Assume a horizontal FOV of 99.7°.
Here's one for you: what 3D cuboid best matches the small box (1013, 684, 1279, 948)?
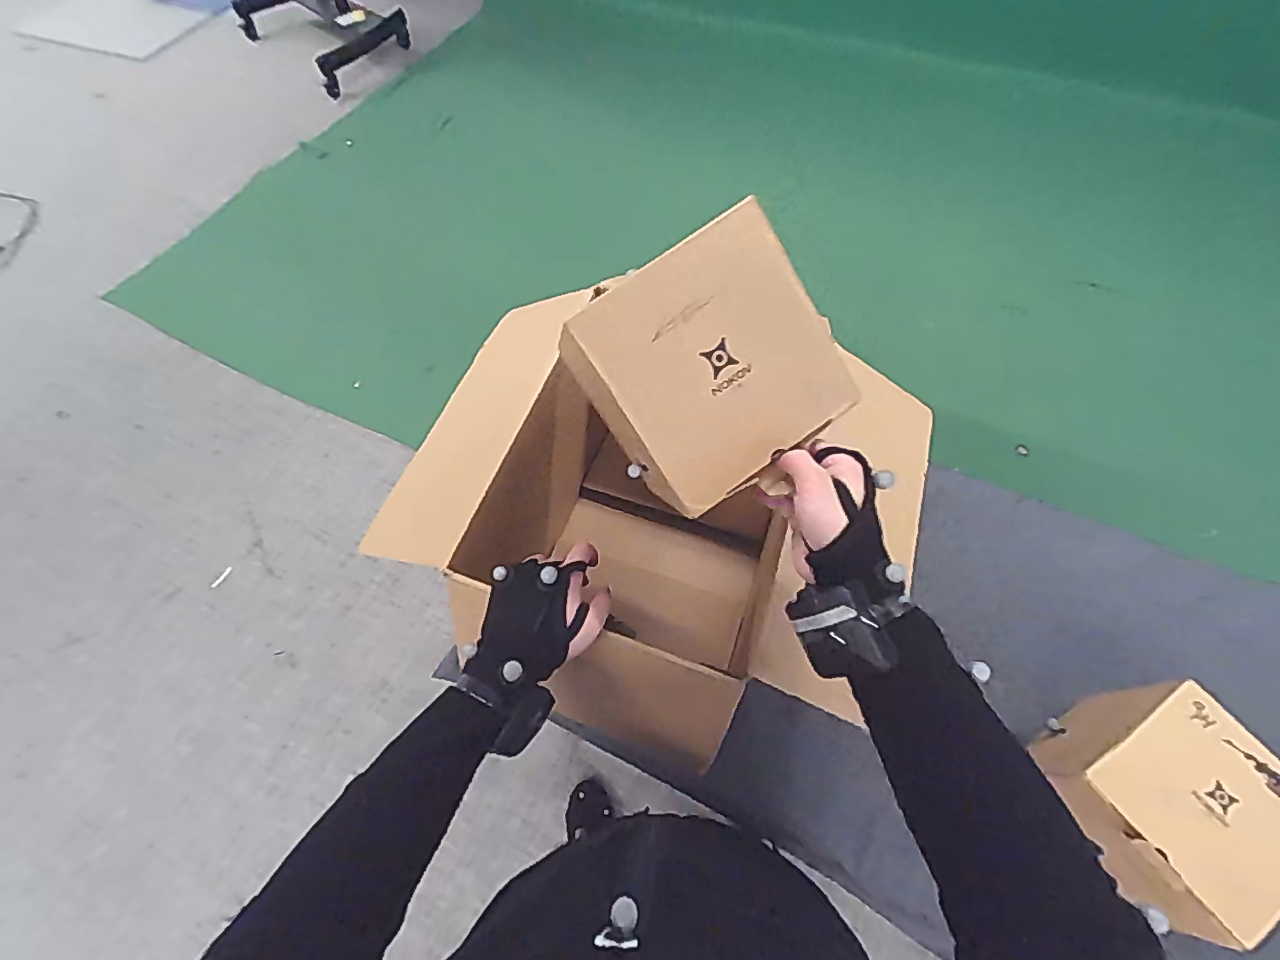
[{"bbox_3d":[0.565,0.358,0.602,0.179,0.176,0.168,-29,64,-12],"label":"small box"}]

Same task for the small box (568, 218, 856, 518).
[{"bbox_3d":[0.050,-0.091,0.493,0.168,0.176,0.179,-35,100,-7],"label":"small box"}]
